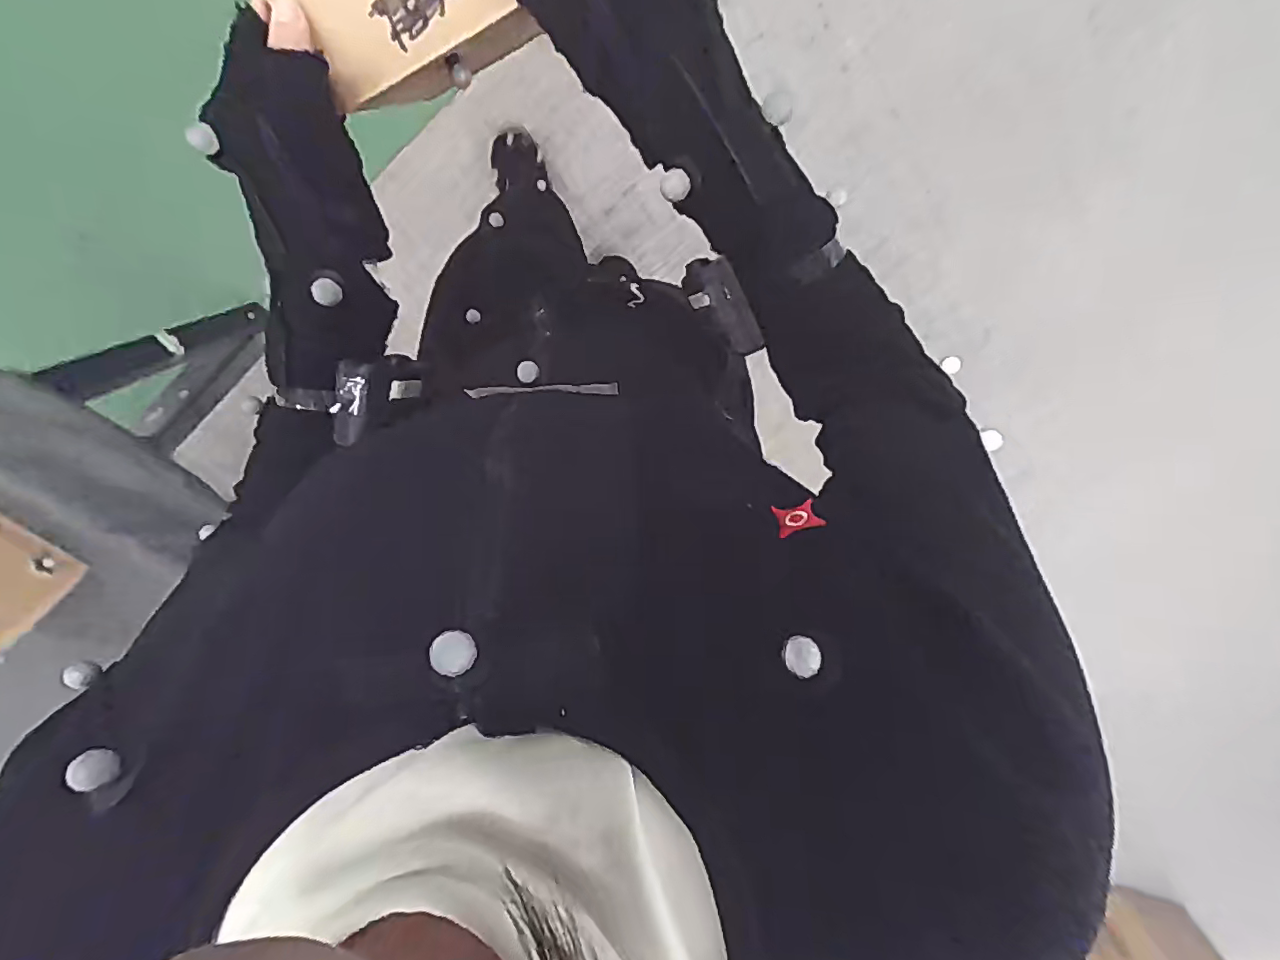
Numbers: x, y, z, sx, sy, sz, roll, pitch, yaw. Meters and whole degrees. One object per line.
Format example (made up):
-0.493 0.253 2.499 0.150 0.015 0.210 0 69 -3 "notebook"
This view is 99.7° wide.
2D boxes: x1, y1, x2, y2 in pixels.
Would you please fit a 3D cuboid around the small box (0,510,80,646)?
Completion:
-0.842 0.140 0.640 0.179 0.176 0.168 -35 115 17 "small box"

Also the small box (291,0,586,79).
-0.121 -0.348 0.291 0.168 0.176 0.179 -20 126 11 "small box"
